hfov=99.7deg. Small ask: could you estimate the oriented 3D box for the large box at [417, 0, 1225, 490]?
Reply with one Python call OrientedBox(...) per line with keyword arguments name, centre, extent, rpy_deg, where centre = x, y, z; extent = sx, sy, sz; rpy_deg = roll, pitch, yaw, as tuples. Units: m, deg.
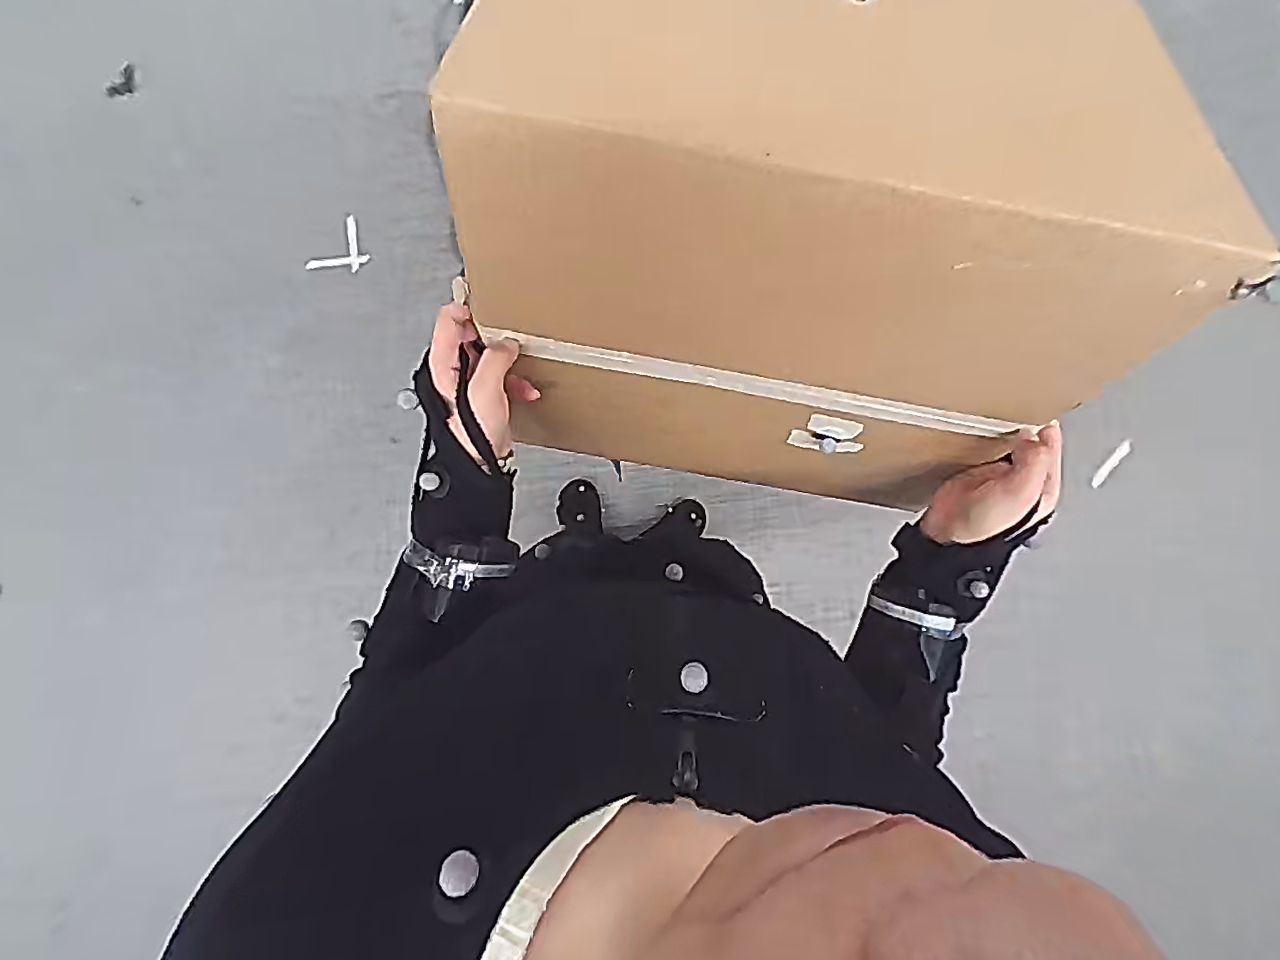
OrientedBox(name="large box", centre=(0.091, -0.214, 0.457), extent=(0.408, 0.320, 0.320), rpy_deg=(8, 65, -2))
